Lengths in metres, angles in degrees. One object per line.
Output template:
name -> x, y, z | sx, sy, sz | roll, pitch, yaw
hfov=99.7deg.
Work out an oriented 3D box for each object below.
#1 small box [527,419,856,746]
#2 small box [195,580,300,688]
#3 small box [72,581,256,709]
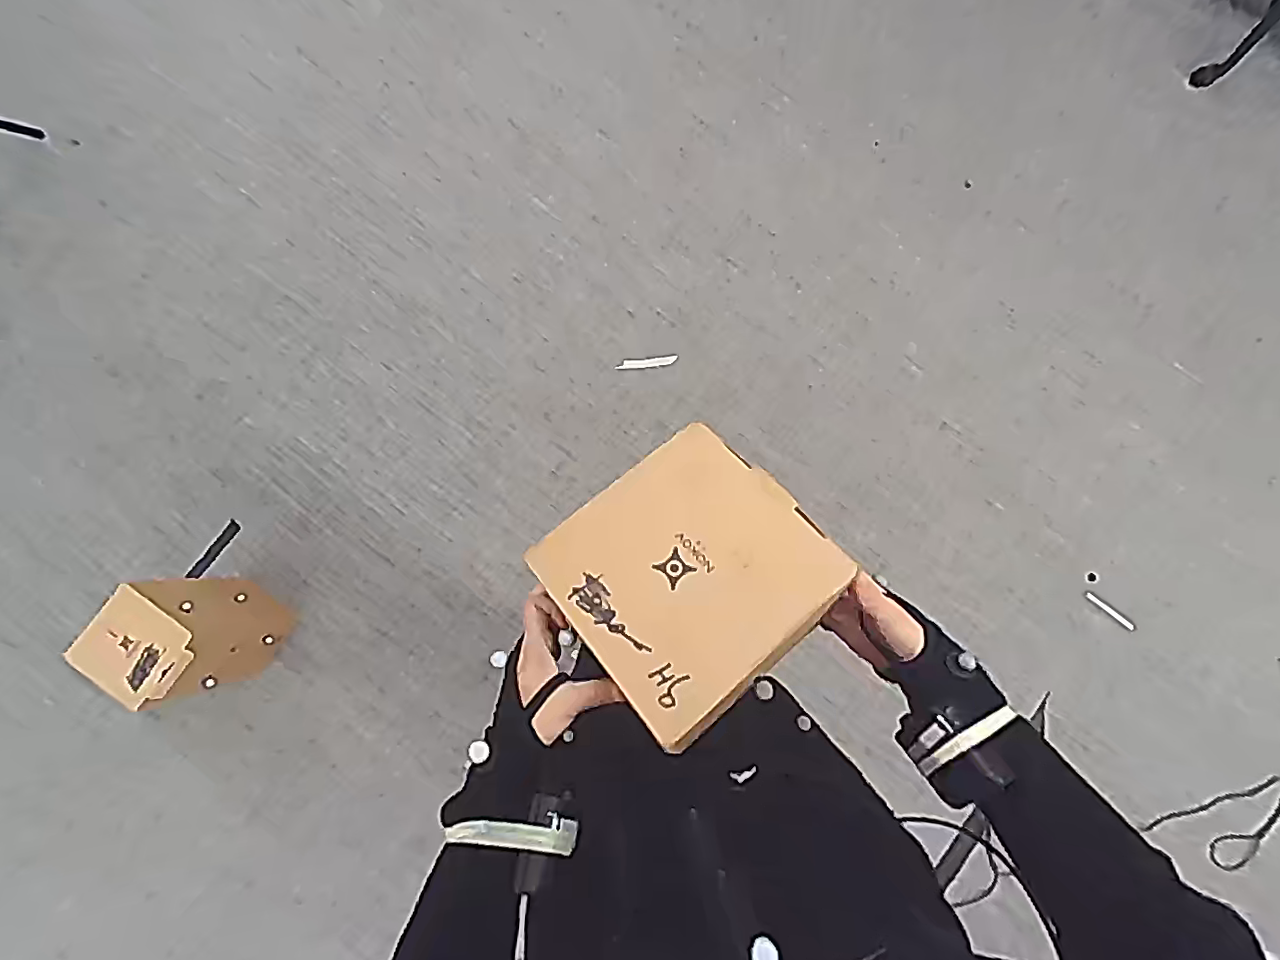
small box -> 0.039, 0.090, 0.448 | 0.179, 0.176, 0.168 | -38, 62, -14
small box -> -0.929, 0.337, 1.230 | 0.179, 0.176, 0.168 | 33, 82, 4
small box -> -0.922, 0.312, 1.067 | 0.179, 0.176, 0.168 | 34, 83, 3
